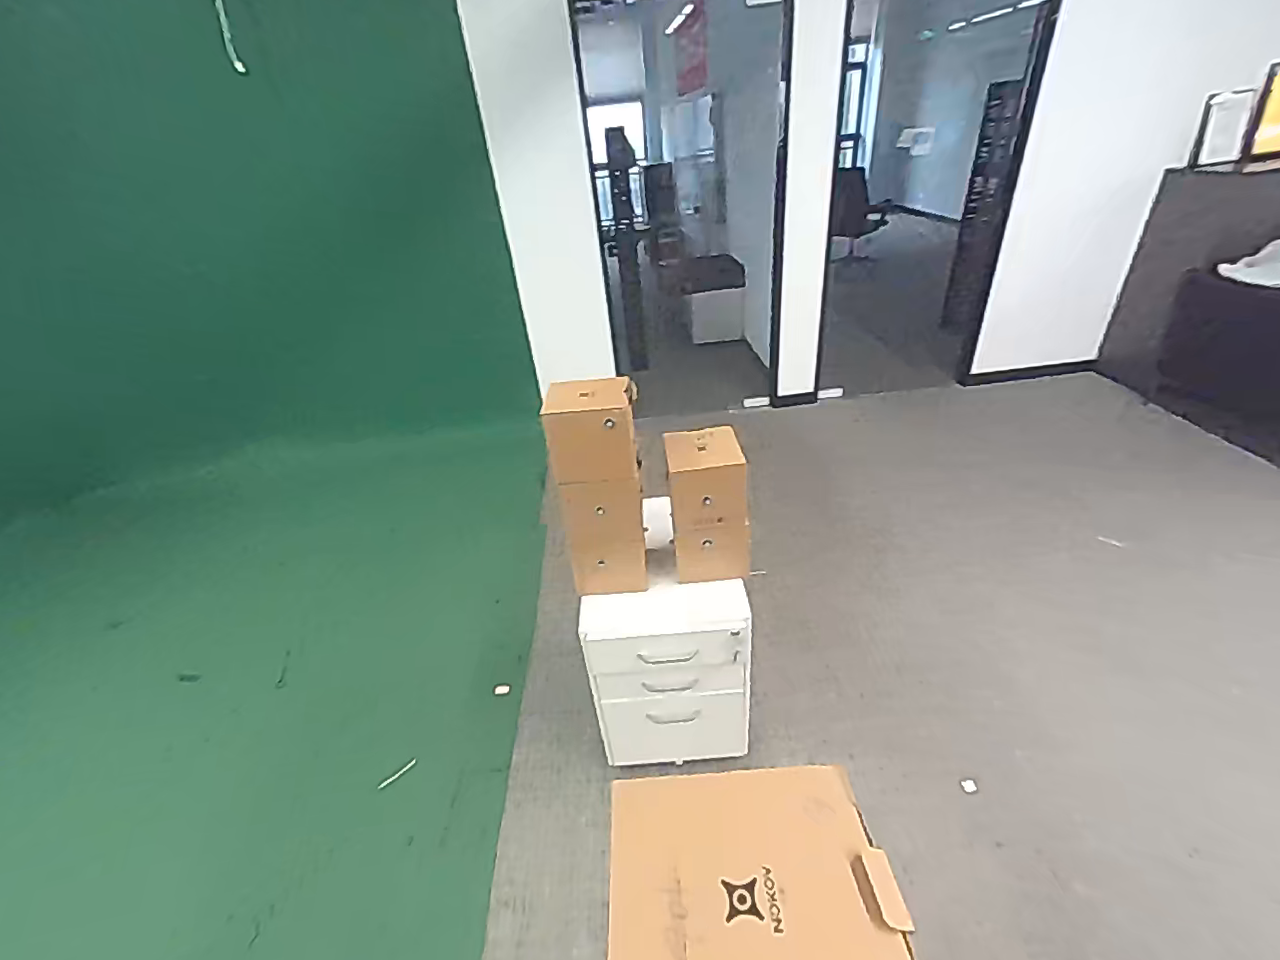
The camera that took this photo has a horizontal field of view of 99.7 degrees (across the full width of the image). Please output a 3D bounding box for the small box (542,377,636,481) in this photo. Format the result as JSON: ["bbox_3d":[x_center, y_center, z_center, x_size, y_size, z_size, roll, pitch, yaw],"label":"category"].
[{"bbox_3d":[-0.103,-0.109,1.170,0.179,0.176,0.168,-4,32,1],"label":"small box"}]

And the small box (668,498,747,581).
[{"bbox_3d":[0.168,0.136,1.352,0.179,0.176,0.168,-5,33,2],"label":"small box"}]

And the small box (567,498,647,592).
[{"bbox_3d":[-0.077,0.164,1.347,0.179,0.176,0.168,-4,33,1],"label":"small box"}]

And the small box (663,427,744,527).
[{"bbox_3d":[0.147,-0.003,1.266,0.168,0.176,0.179,-6,33,0],"label":"small box"}]

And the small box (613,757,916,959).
[{"bbox_3d":[0.077,0.328,0.383,0.179,0.176,0.168,-5,28,2],"label":"small box"}]
